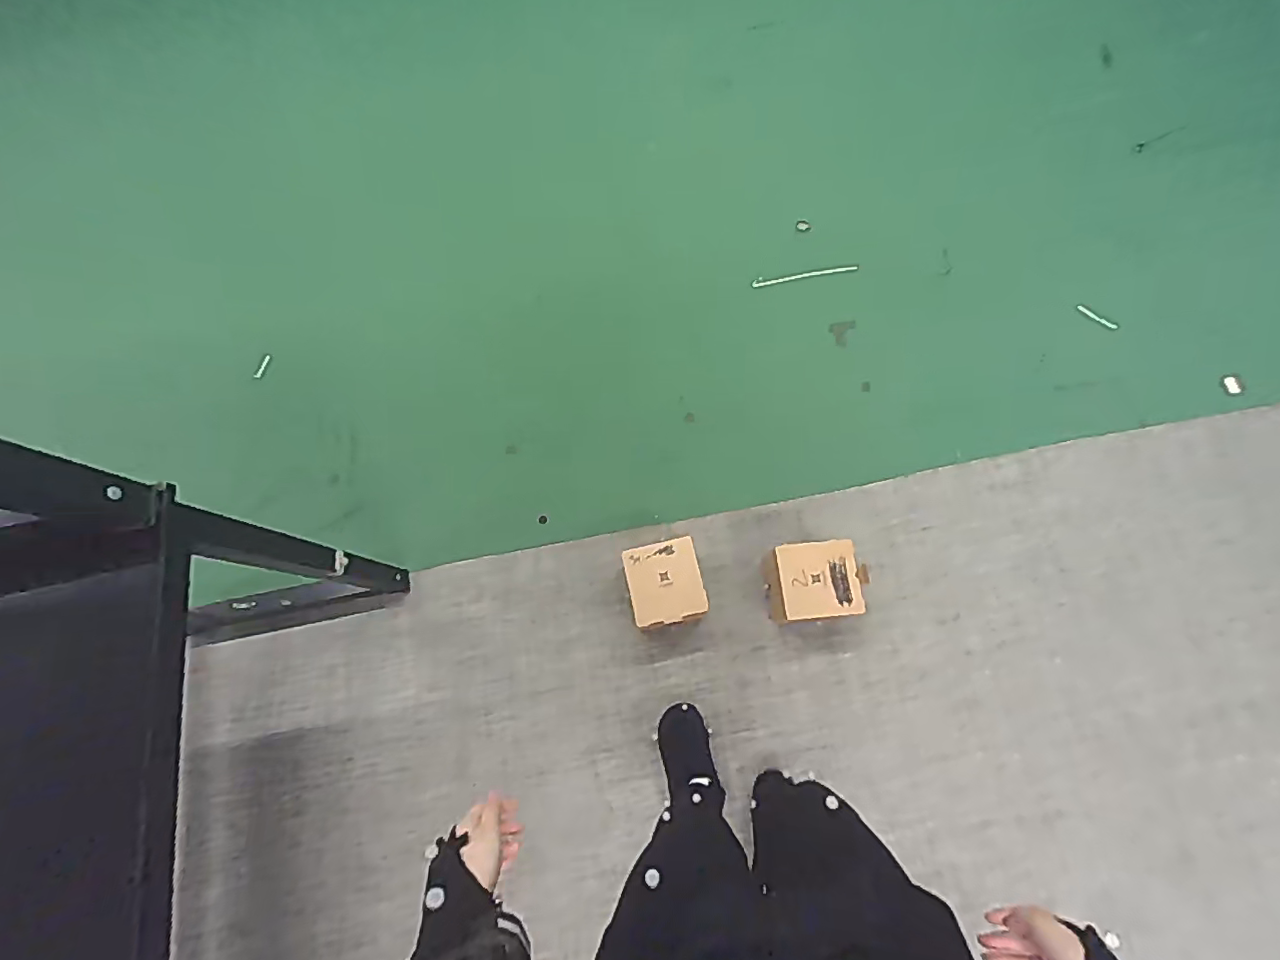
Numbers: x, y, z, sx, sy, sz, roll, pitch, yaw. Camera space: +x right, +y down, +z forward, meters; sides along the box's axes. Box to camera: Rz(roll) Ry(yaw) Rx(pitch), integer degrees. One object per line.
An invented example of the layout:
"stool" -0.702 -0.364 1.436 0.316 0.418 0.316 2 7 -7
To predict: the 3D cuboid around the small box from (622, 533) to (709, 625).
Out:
"small box" 0.060 0.236 1.269 0.168 0.176 0.179 -13 73 -1
